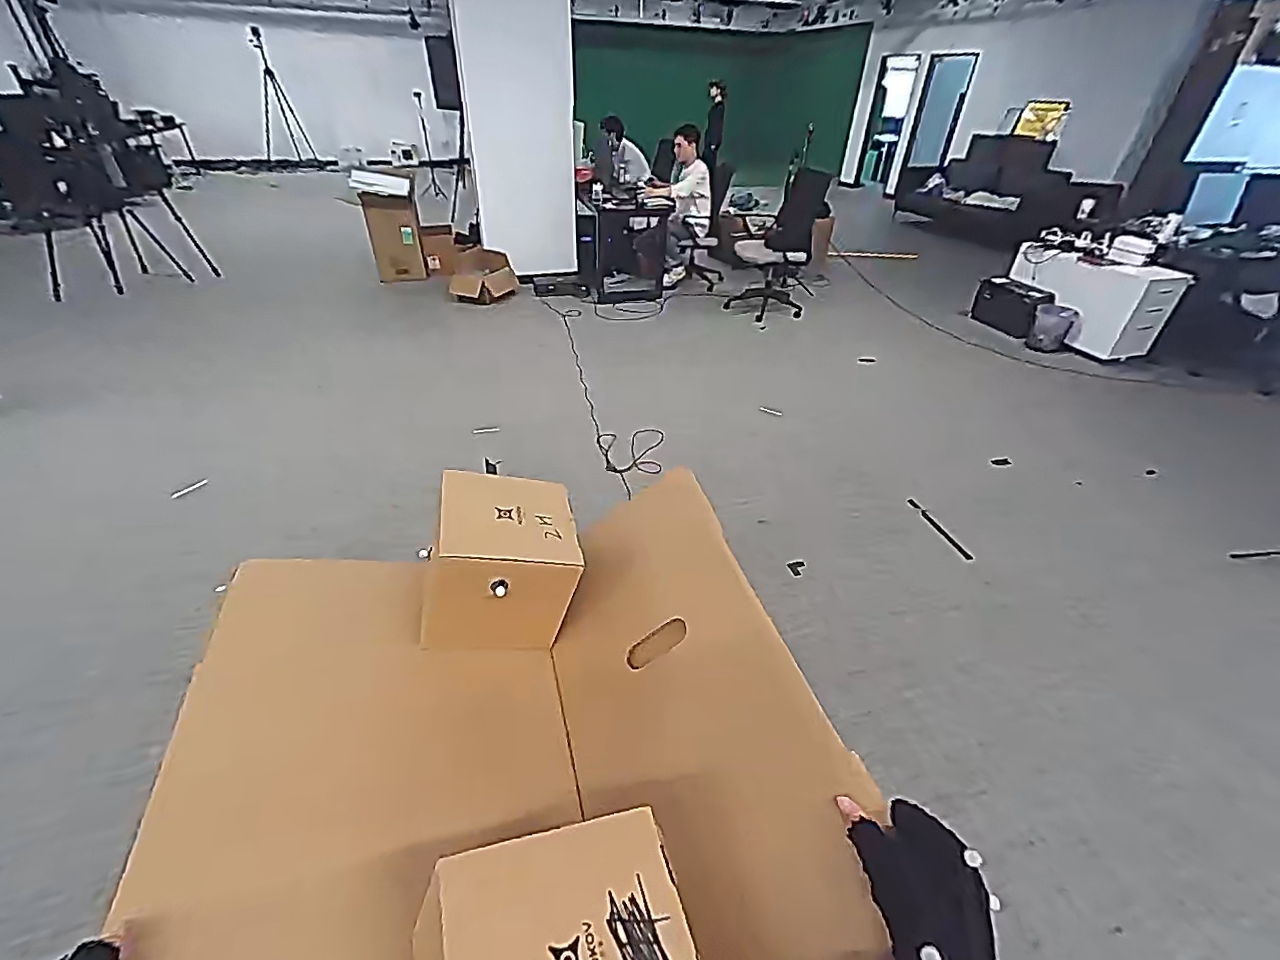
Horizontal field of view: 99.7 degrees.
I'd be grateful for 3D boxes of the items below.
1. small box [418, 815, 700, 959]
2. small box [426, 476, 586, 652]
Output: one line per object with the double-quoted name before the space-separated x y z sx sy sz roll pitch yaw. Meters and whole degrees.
"small box" -0.066 0.395 0.415 0.179 0.176 0.168 4 38 -27
"small box" -0.189 0.118 0.743 0.179 0.176 0.168 9 35 -23
